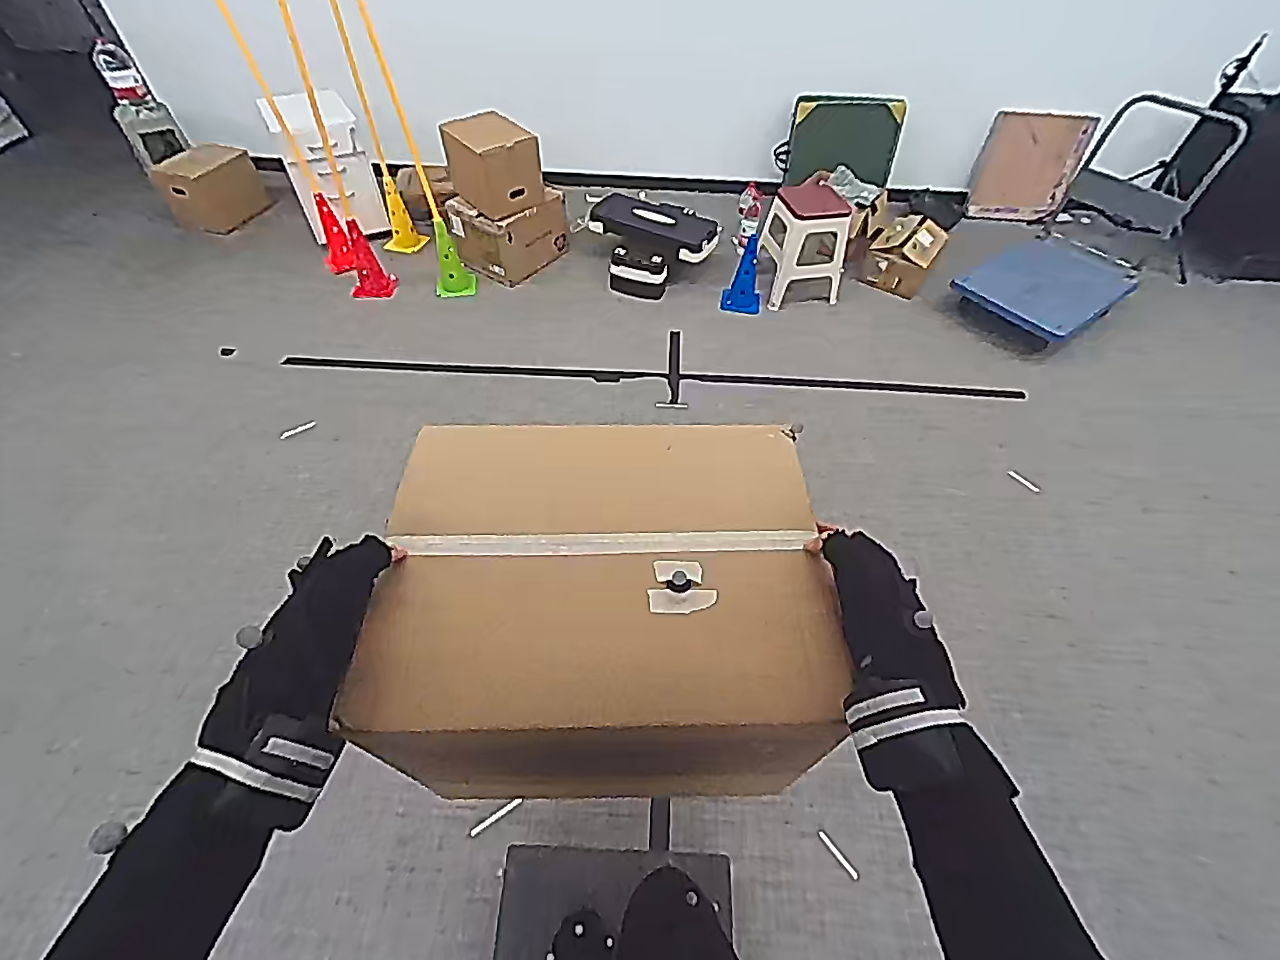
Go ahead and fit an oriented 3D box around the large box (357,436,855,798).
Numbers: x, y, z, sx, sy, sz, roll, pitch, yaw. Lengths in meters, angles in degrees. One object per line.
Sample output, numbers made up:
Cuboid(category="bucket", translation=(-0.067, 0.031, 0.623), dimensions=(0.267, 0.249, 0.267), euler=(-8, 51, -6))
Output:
Cuboid(category="large box", translation=(-0.032, 0.164, 0.632), dimensions=(0.408, 0.320, 0.320), euler=(0, 51, -1))
